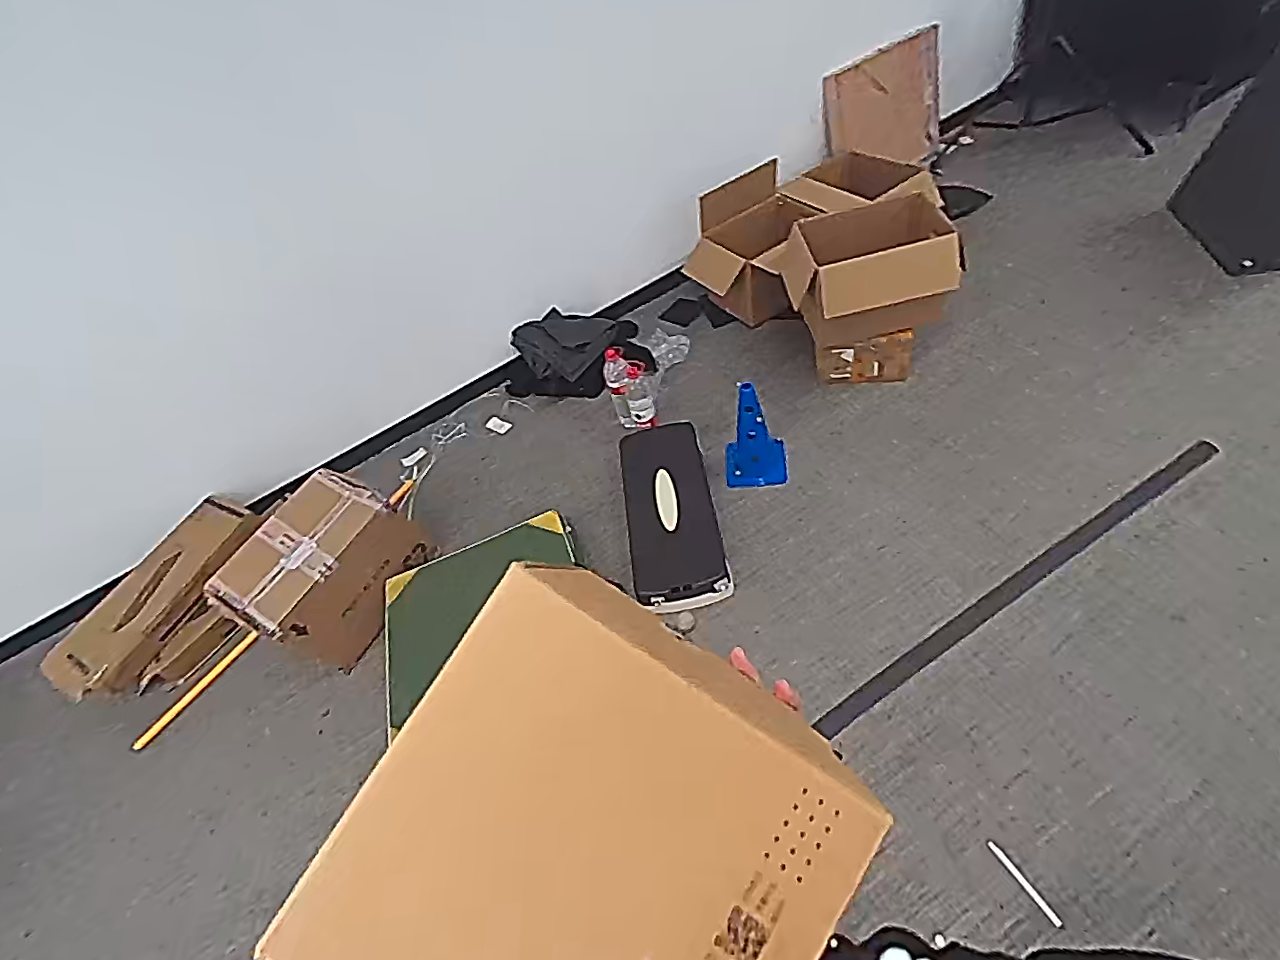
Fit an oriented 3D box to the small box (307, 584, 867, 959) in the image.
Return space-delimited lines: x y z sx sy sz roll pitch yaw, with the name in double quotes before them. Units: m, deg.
"small box" -0.014 0.172 0.290 0.176 0.179 0.168 32 84 9
